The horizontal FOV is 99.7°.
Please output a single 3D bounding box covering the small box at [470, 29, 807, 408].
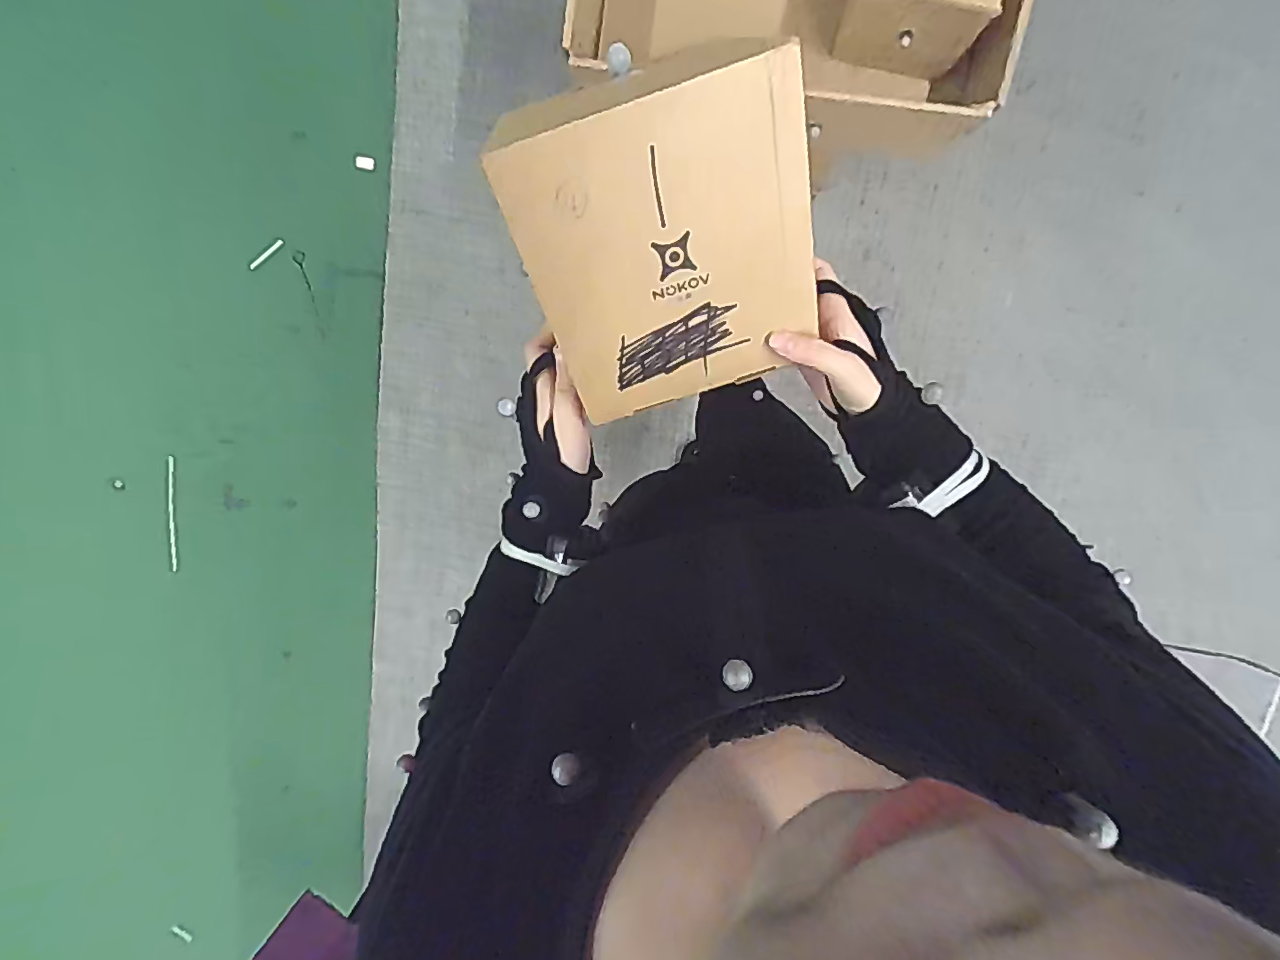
[{"bbox_3d":[0.005,-0.184,0.379,0.168,0.176,0.179,-17,129,5],"label":"small box"}]
